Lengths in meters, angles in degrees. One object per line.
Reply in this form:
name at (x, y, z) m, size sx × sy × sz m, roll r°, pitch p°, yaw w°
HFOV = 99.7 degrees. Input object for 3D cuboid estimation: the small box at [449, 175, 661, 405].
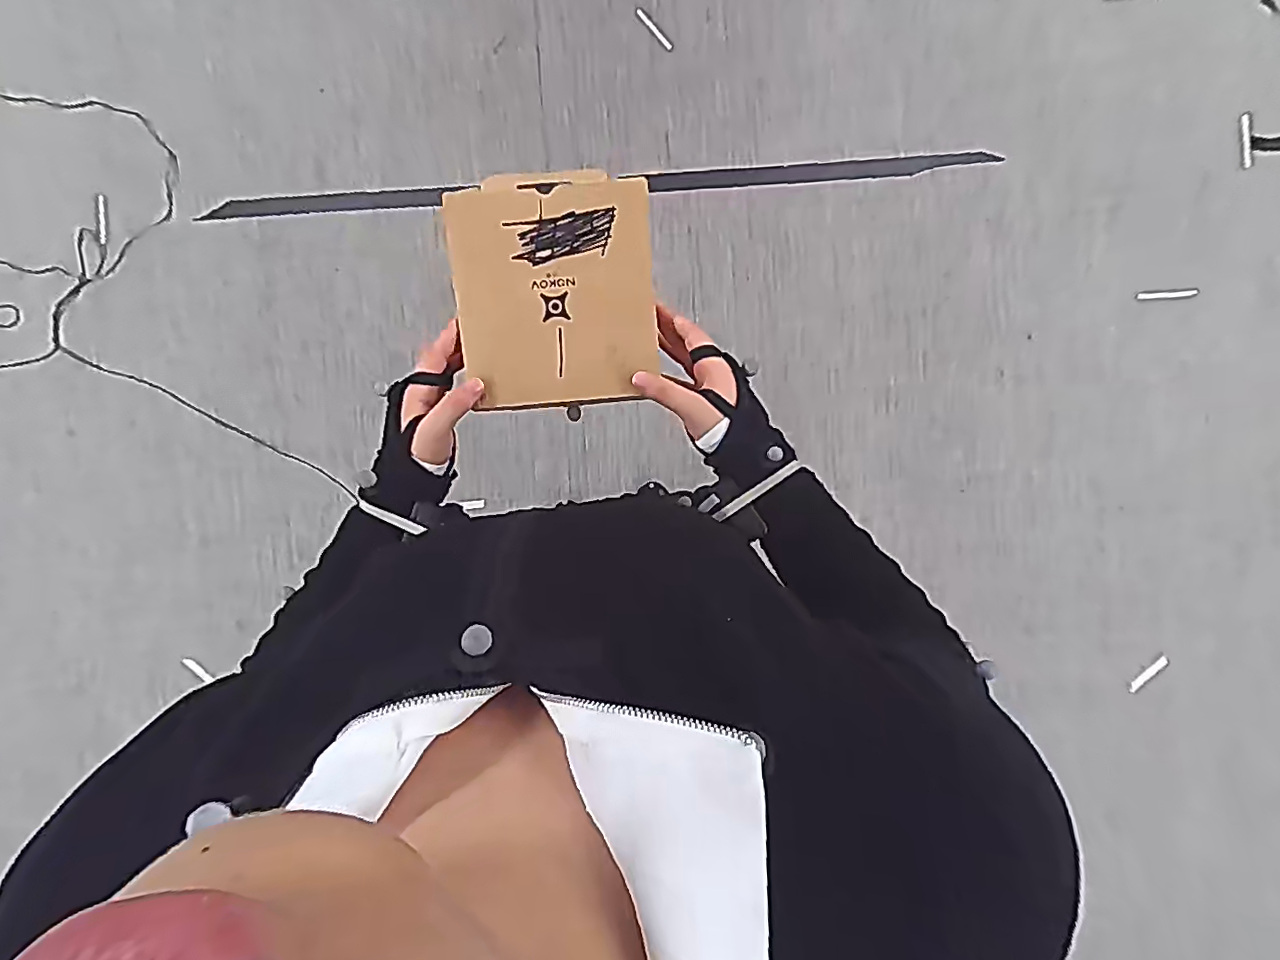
small box at (-0.071, -0.167, 0.528) m, size 0.168 × 0.176 × 0.179 m, roll -4°, pitch 98°, yaw 0°
